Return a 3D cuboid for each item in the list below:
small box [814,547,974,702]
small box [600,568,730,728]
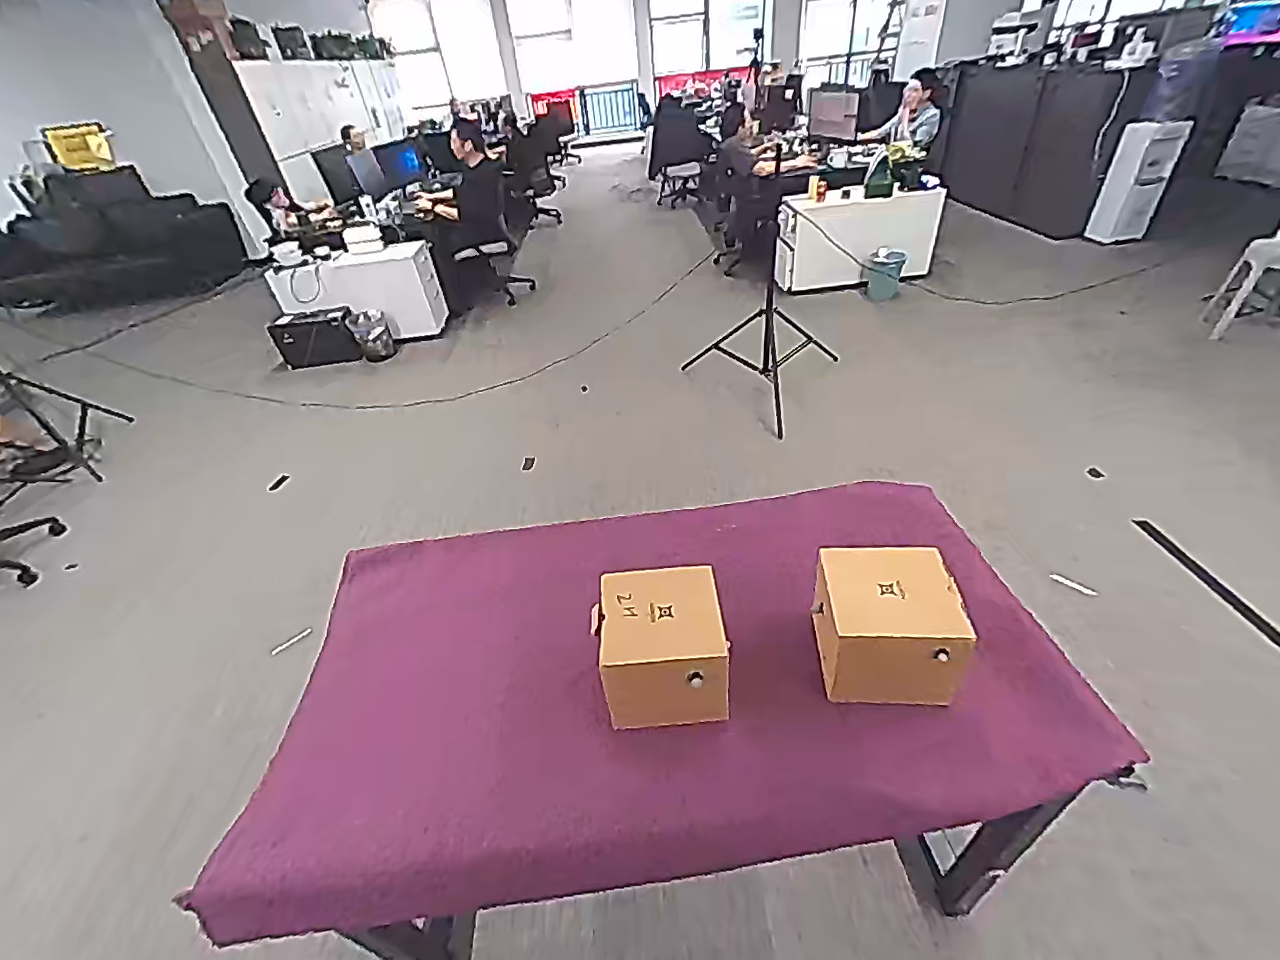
[{"bbox_3d":[0.366,0.219,0.822,0.179,0.176,0.168,-2,38,8],"label":"small box"},{"bbox_3d":[0.038,0.258,0.829,0.179,0.176,0.168,-6,37,2],"label":"small box"}]
